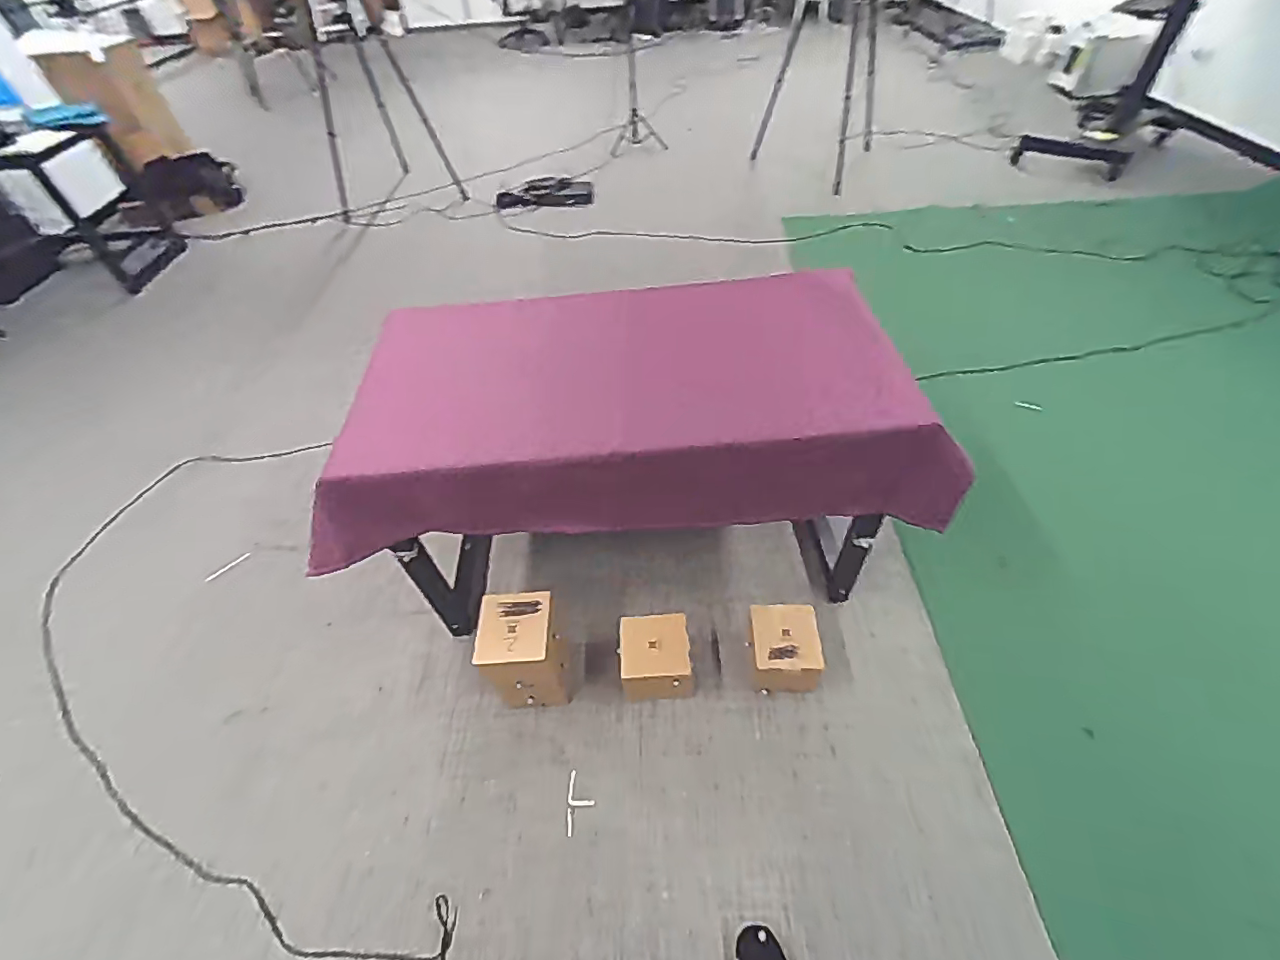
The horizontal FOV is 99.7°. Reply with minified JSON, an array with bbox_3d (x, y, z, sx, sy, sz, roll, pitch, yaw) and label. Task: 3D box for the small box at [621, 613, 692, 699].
[{"bbox_3d":[0.046,0.475,1.449,0.179,0.176,0.168,-5,49,2],"label":"small box"}]
